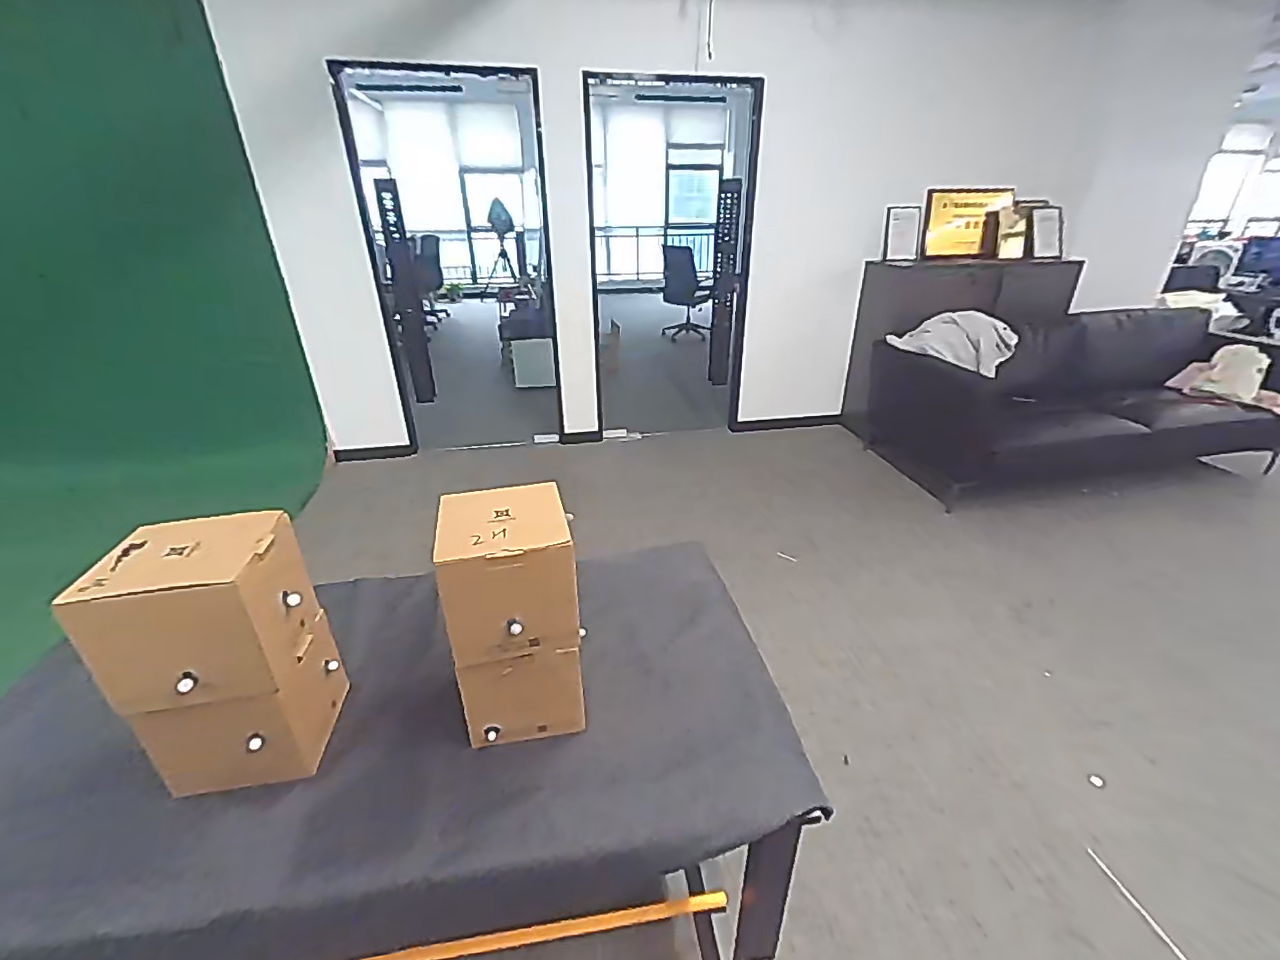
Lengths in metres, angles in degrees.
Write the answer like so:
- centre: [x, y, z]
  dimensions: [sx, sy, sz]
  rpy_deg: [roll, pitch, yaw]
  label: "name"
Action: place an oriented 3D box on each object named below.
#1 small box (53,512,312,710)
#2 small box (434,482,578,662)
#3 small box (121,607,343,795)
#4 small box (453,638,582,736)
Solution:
- centre: [-0.545, 0.159, 0.682]
  dimensions: [0.179, 0.176, 0.168]
  rpy_deg: [-5, 25, -12]
  label: "small box"
- centre: [-0.183, 0.121, 0.756]
  dimensions: [0.168, 0.176, 0.179]
  rpy_deg: [-8, 27, -14]
  label: "small box"
- centre: [-0.545, 0.305, 0.759]
  dimensions: [0.179, 0.176, 0.168]
  rpy_deg: [-5, 25, -9]
  label: "small box"
- centre: [-0.180, 0.268, 0.830]
  dimensions: [0.168, 0.176, 0.179]
  rpy_deg: [-5, 26, -9]
  label: "small box"
